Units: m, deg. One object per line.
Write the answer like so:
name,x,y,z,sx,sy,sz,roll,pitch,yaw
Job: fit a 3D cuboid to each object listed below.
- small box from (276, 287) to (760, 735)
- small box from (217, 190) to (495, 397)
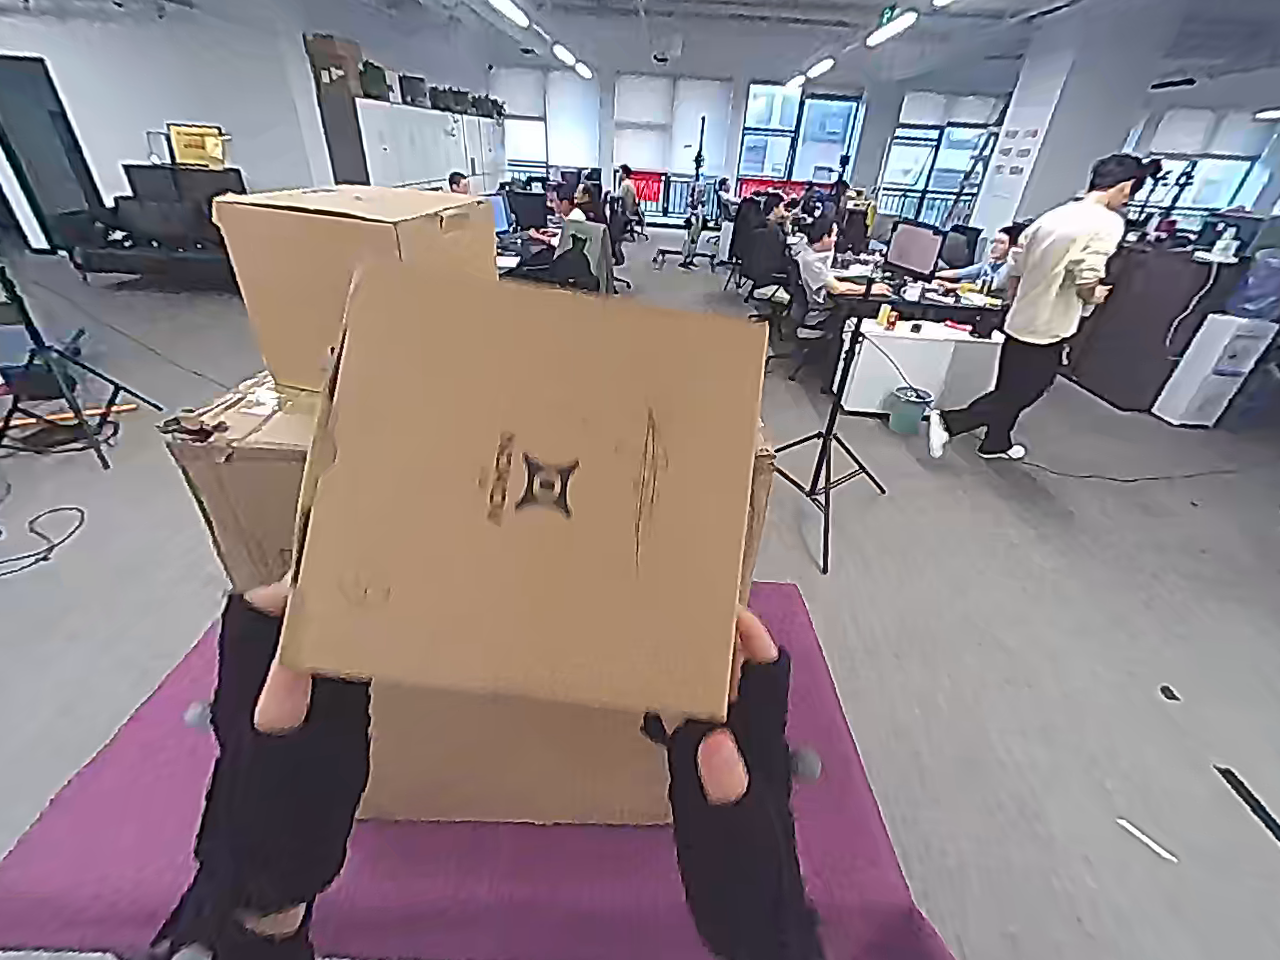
small box,-0.050,0.018,0.299,0.179,0.168,0.176,8,-6,-4
small box,-0.258,-0.182,0.546,0.179,0.176,0.168,11,34,10
